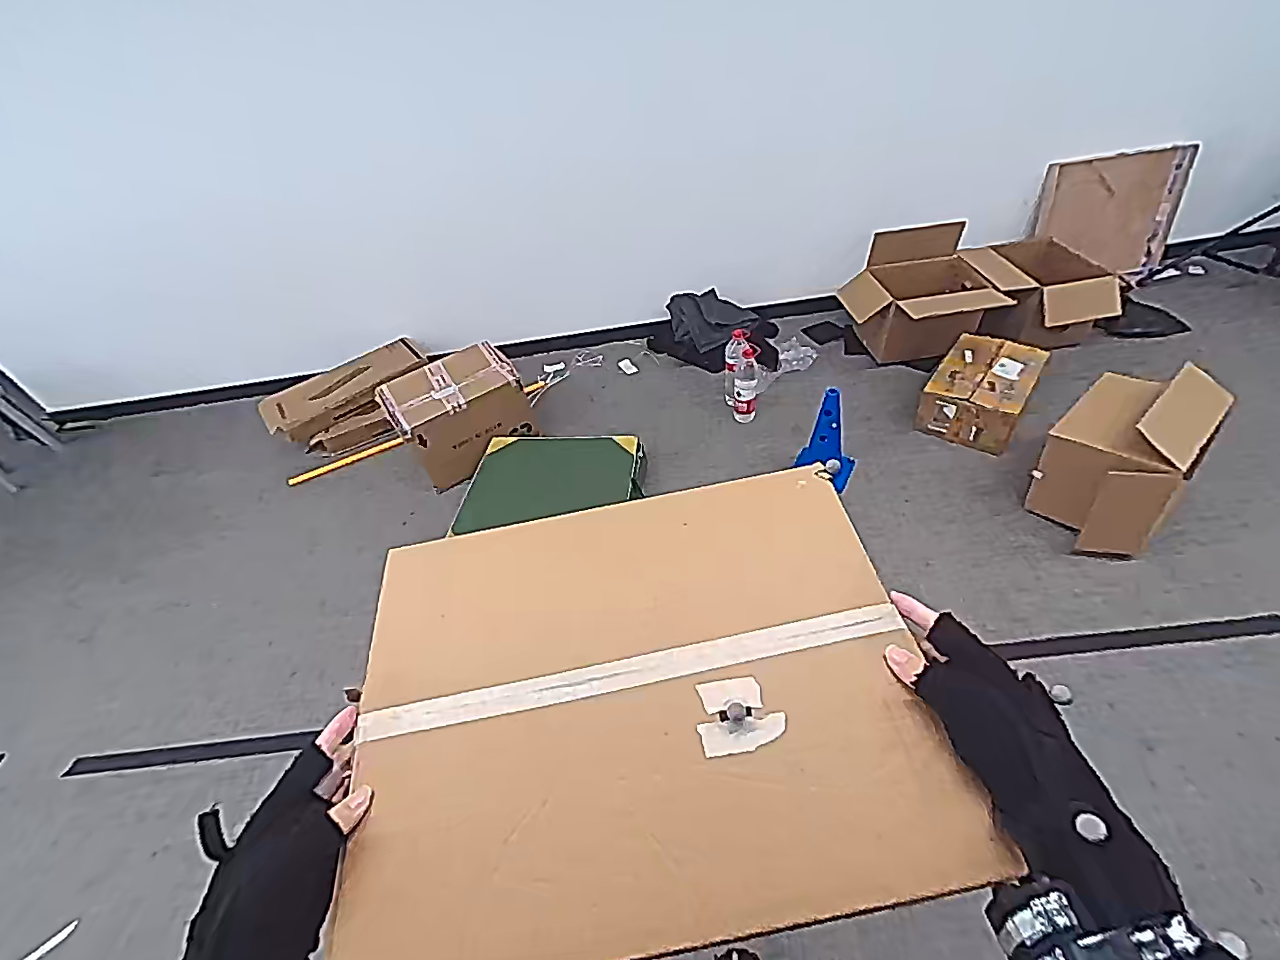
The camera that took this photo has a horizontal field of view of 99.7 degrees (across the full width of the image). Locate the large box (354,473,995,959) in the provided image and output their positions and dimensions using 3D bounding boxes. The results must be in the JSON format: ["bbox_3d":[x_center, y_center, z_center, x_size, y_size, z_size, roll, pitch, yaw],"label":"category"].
[{"bbox_3d":[0.013,0.240,0.529,0.408,0.320,0.320,-11,51,-2],"label":"large box"}]
